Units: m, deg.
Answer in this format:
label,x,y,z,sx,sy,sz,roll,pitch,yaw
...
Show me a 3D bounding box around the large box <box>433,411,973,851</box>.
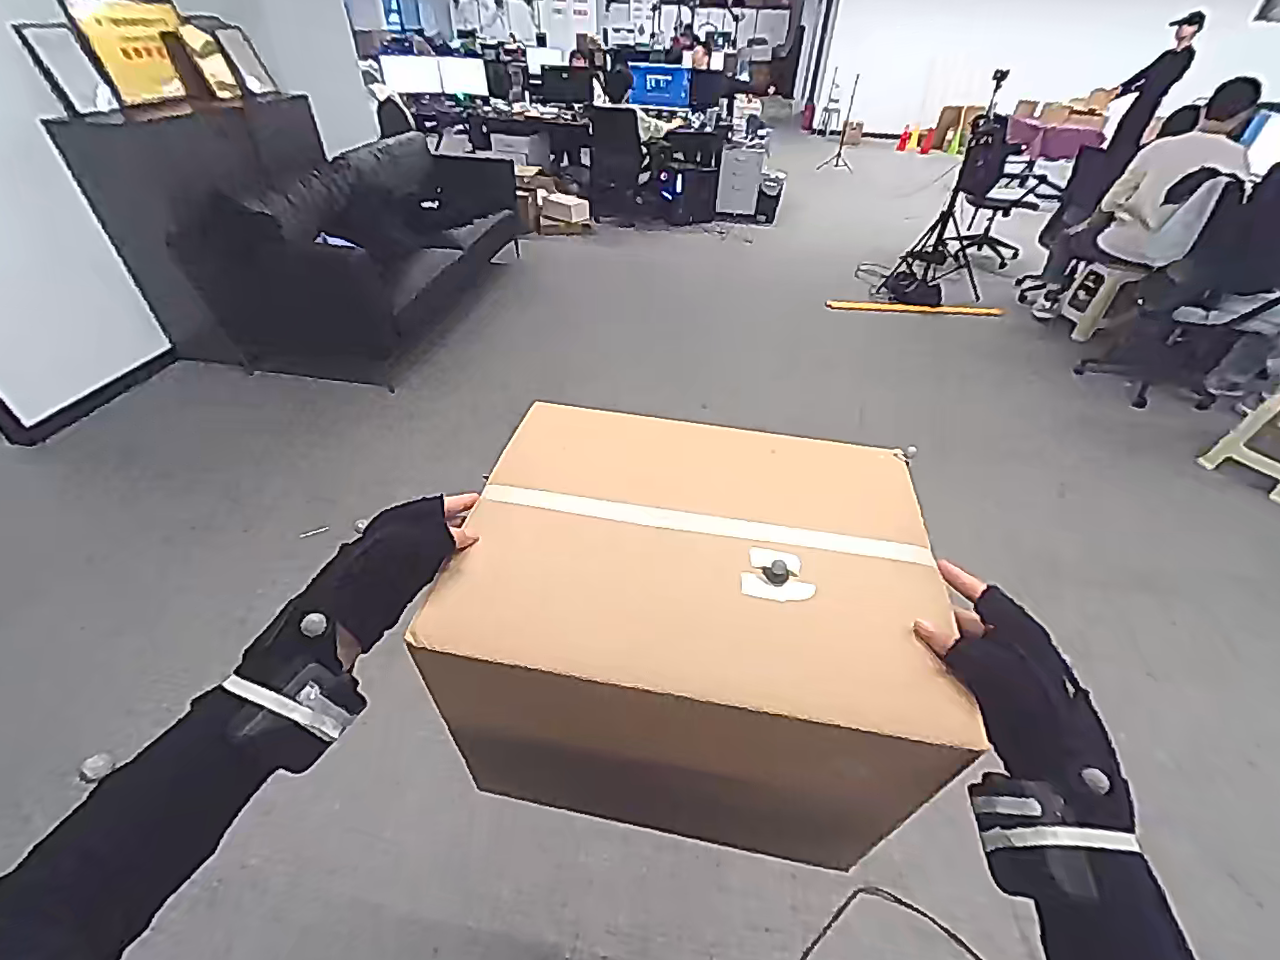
label,x,y,z,sx,sy,sz,roll,pitch,yaw
large box,0.051,0.157,0.597,0.408,0.320,0.320,9,43,5
